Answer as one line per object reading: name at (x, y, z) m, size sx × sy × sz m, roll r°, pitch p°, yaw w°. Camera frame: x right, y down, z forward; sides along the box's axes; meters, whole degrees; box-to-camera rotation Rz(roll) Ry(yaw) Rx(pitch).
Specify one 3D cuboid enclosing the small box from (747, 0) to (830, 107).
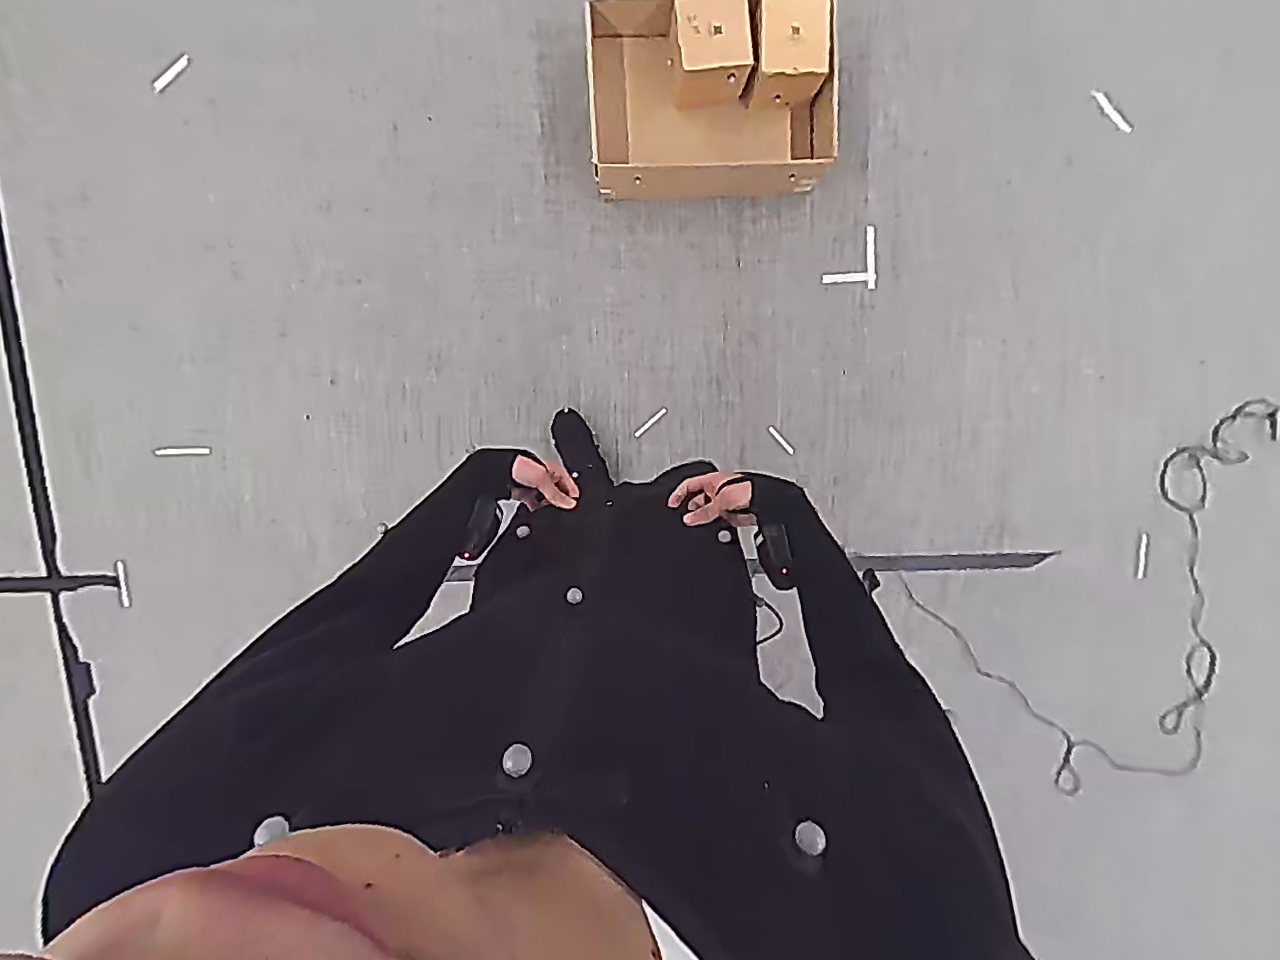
small box at (0.369, -1.085, 1.371) m, size 0.168 × 0.176 × 0.179 m, roll -2°, pitch 100°, yaw -1°
